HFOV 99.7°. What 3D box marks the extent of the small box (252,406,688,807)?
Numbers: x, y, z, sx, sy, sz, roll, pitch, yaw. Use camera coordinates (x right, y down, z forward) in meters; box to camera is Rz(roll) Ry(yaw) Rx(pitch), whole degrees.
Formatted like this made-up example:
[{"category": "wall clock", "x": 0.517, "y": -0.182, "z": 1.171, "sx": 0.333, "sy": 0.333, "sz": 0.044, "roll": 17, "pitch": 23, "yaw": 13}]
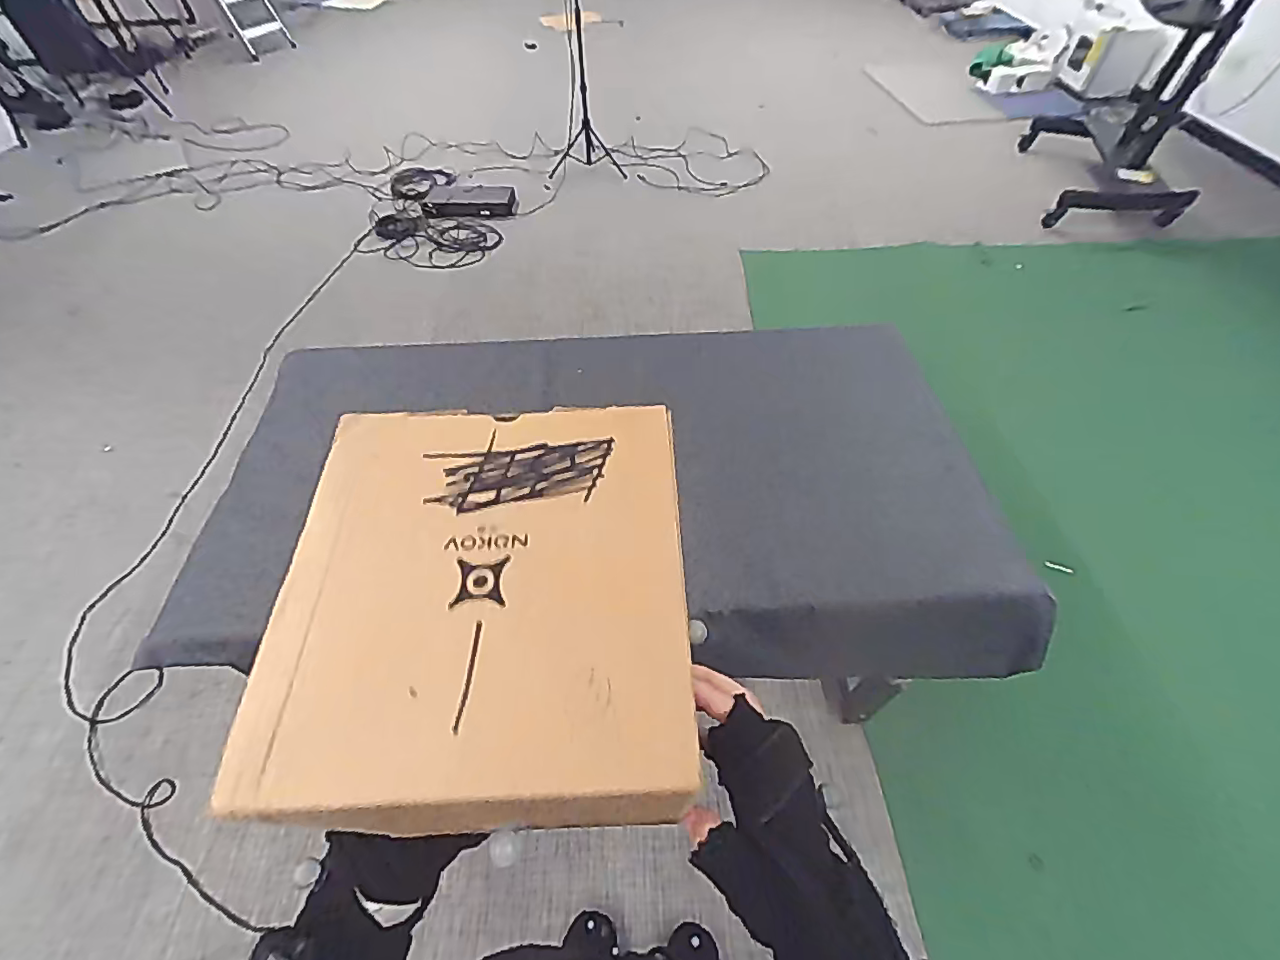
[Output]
[{"category": "small box", "x": -0.064, "y": 0.077, "z": 0.313, "sx": 0.168, "sy": 0.176, "sz": 0.179, "roll": -2, "pitch": 54, "yaw": 0}]
